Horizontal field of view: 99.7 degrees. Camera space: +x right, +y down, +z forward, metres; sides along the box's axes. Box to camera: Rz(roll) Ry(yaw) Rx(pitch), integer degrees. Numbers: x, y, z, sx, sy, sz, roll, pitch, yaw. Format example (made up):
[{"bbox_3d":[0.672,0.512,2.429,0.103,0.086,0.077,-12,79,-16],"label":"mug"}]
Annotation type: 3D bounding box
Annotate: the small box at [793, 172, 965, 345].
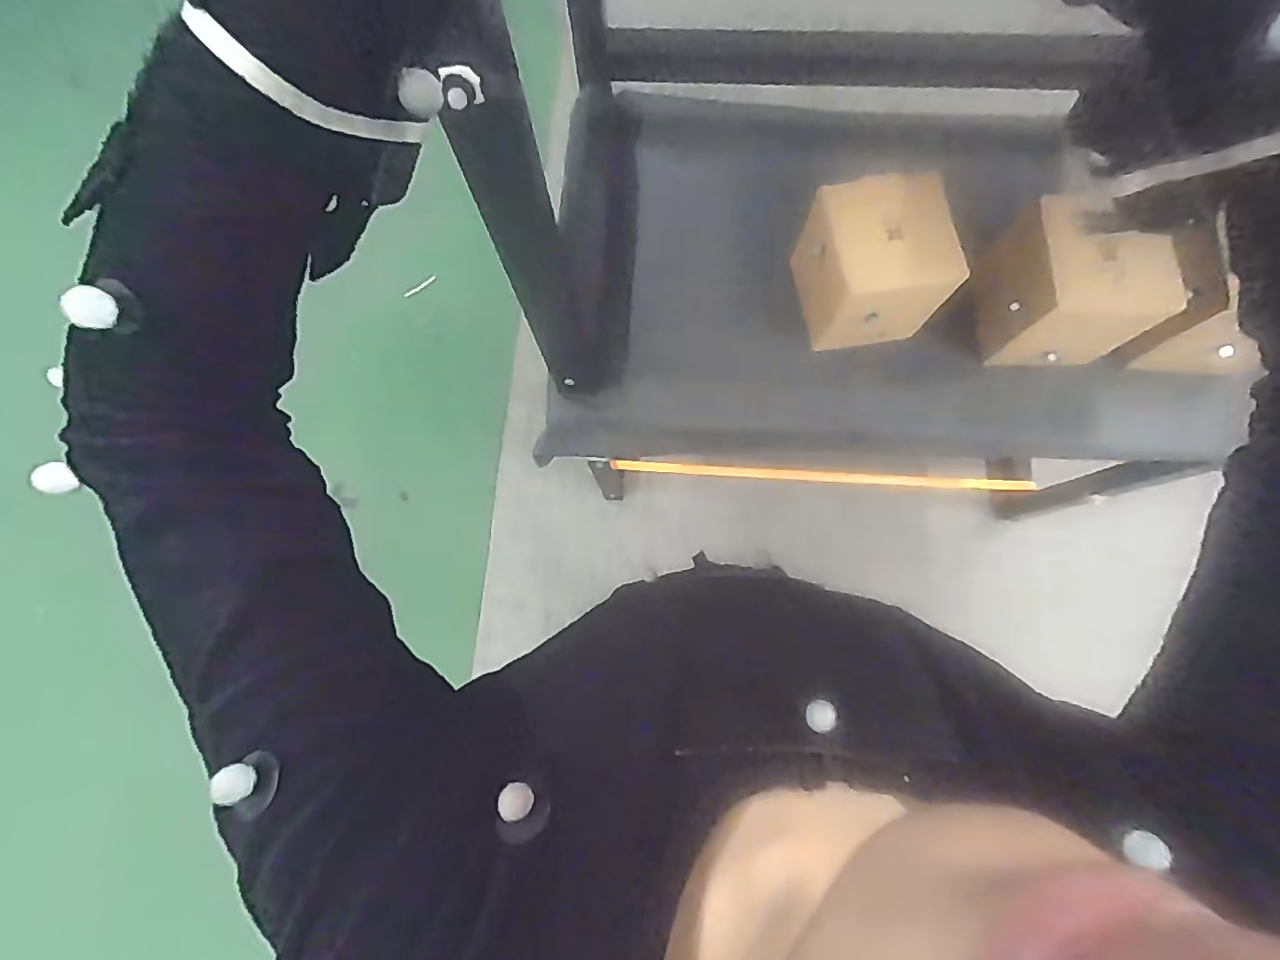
[{"bbox_3d":[0.342,-0.317,0.810,0.168,0.176,0.179,-8,75,0],"label":"small box"}]
